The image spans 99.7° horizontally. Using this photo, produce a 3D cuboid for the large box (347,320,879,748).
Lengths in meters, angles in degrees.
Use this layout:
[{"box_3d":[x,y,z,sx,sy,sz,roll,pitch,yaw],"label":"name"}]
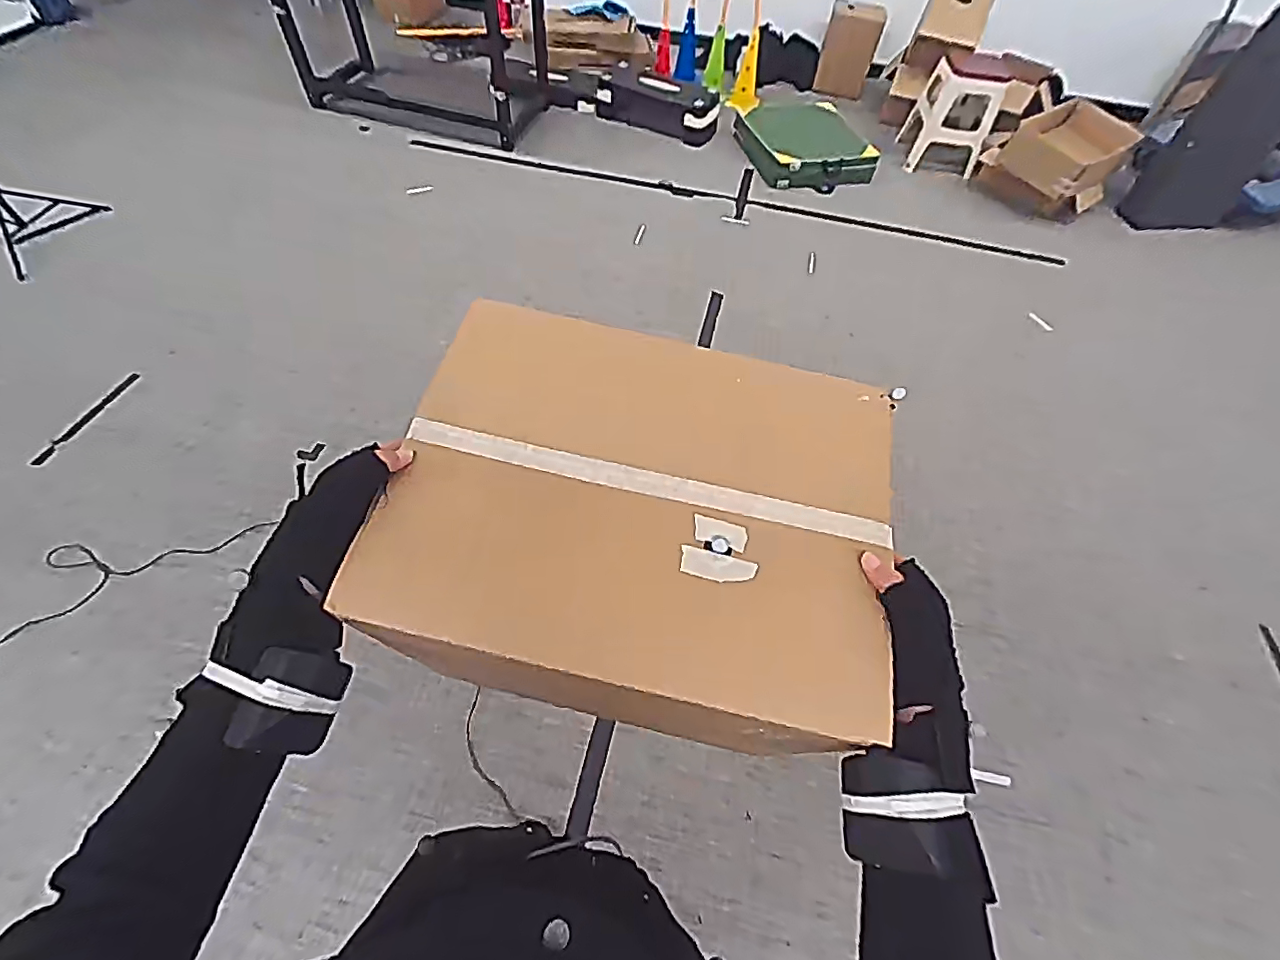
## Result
[{"box_3d":[-0.007,0.081,0.590,0.408,0.320,0.320,13,63,2],"label":"large box"}]
